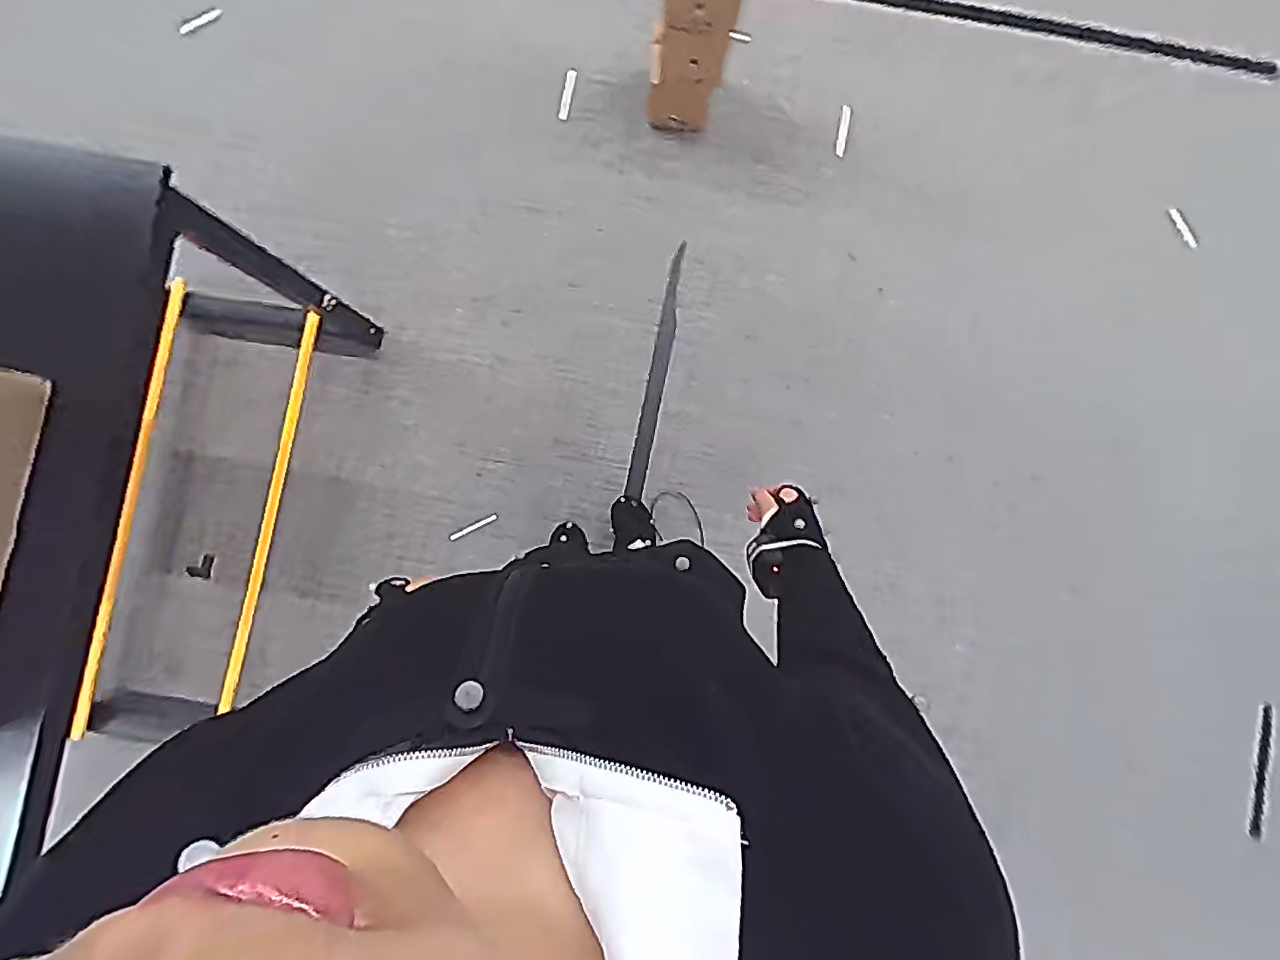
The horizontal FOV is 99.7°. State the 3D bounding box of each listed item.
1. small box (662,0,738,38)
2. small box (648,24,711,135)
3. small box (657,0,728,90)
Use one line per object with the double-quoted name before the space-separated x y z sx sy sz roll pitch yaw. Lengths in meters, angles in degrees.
"small box" 0.138 -1.105 1.152 0.168 0.176 0.179 8 87 1
"small box" 0.110 -1.090 1.481 0.168 0.176 0.179 4 88 1
"small box" 0.129 -1.094 1.317 0.168 0.176 0.179 3 88 0
